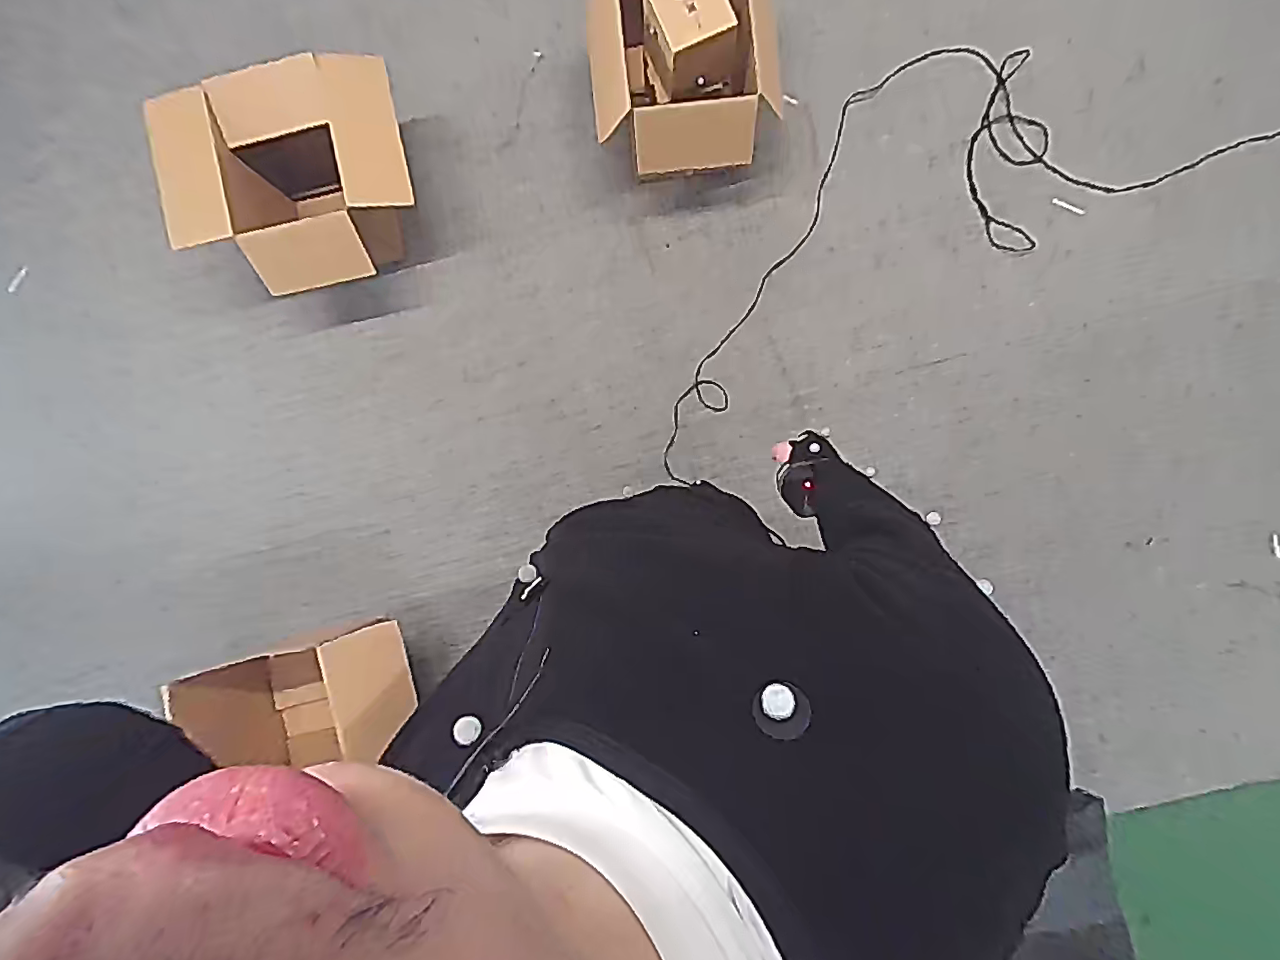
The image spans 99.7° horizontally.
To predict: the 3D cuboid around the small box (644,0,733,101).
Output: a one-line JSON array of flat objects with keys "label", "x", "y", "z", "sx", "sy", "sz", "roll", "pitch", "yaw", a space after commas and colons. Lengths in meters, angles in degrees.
[{"label": "small box", "x": 0.110, "y": -1.078, "z": 1.309, "sx": 0.168, "sy": 0.176, "sz": 0.179, "roll": -20, "pitch": 87, "yaw": 3}]
